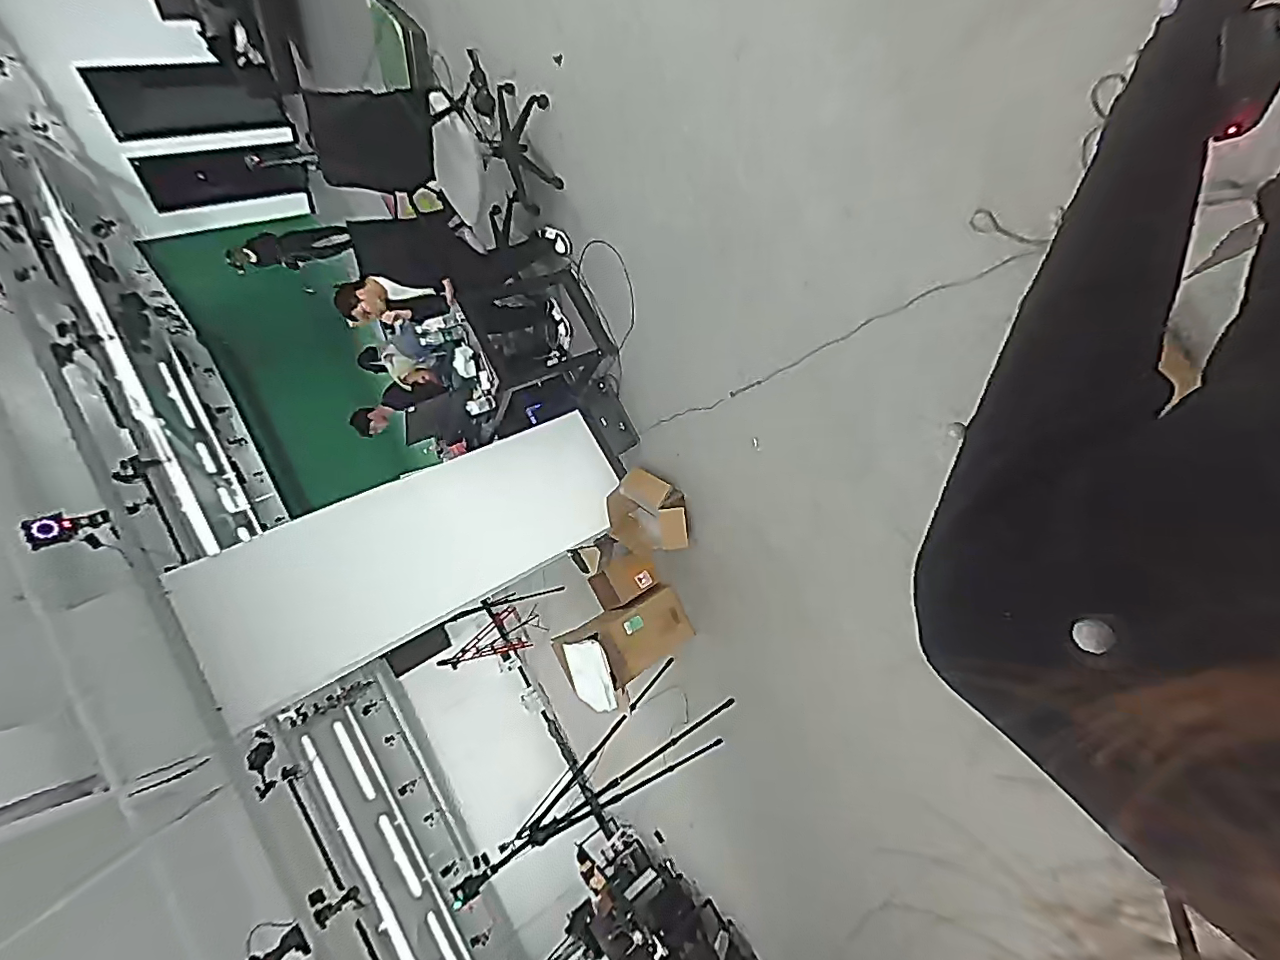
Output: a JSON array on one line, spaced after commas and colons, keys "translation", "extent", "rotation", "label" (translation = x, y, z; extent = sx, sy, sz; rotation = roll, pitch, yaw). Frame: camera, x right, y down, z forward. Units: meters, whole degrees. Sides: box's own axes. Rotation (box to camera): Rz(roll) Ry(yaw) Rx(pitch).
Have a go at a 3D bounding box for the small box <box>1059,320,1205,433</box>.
[{"translation": [1.129, -0.238, 1.240], "extent": [0.179, 0.176, 0.168], "rotation": [61, 154, 5], "label": "small box"}]
